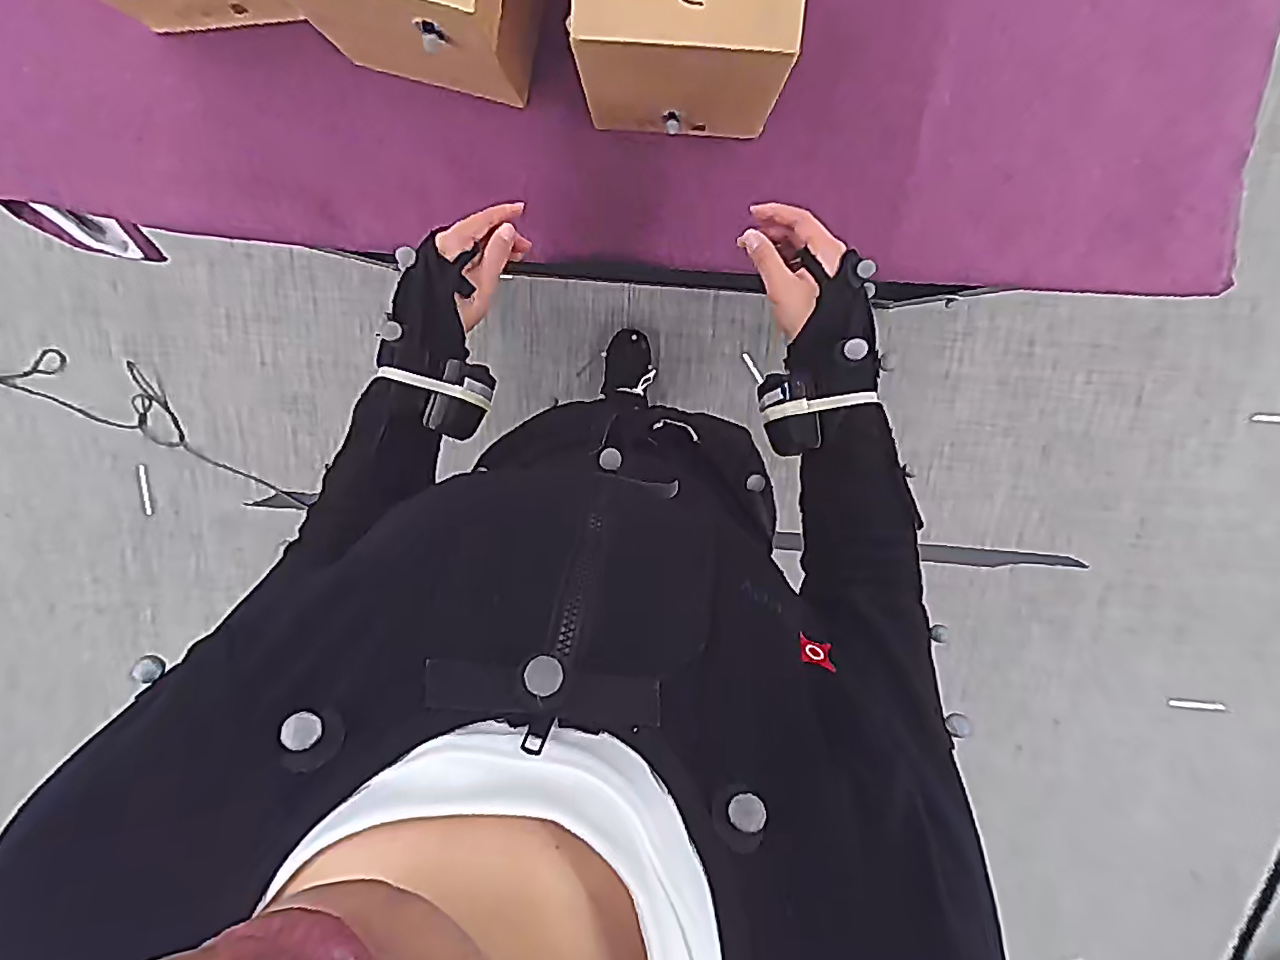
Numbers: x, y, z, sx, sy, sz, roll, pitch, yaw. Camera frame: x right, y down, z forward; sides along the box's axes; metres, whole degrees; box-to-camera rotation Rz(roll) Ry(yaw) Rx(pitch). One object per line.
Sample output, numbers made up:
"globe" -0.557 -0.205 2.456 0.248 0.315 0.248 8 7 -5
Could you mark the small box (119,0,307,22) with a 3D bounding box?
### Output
"small box" -0.405 -0.508 0.432 0.168 0.176 0.179 -4 105 3
